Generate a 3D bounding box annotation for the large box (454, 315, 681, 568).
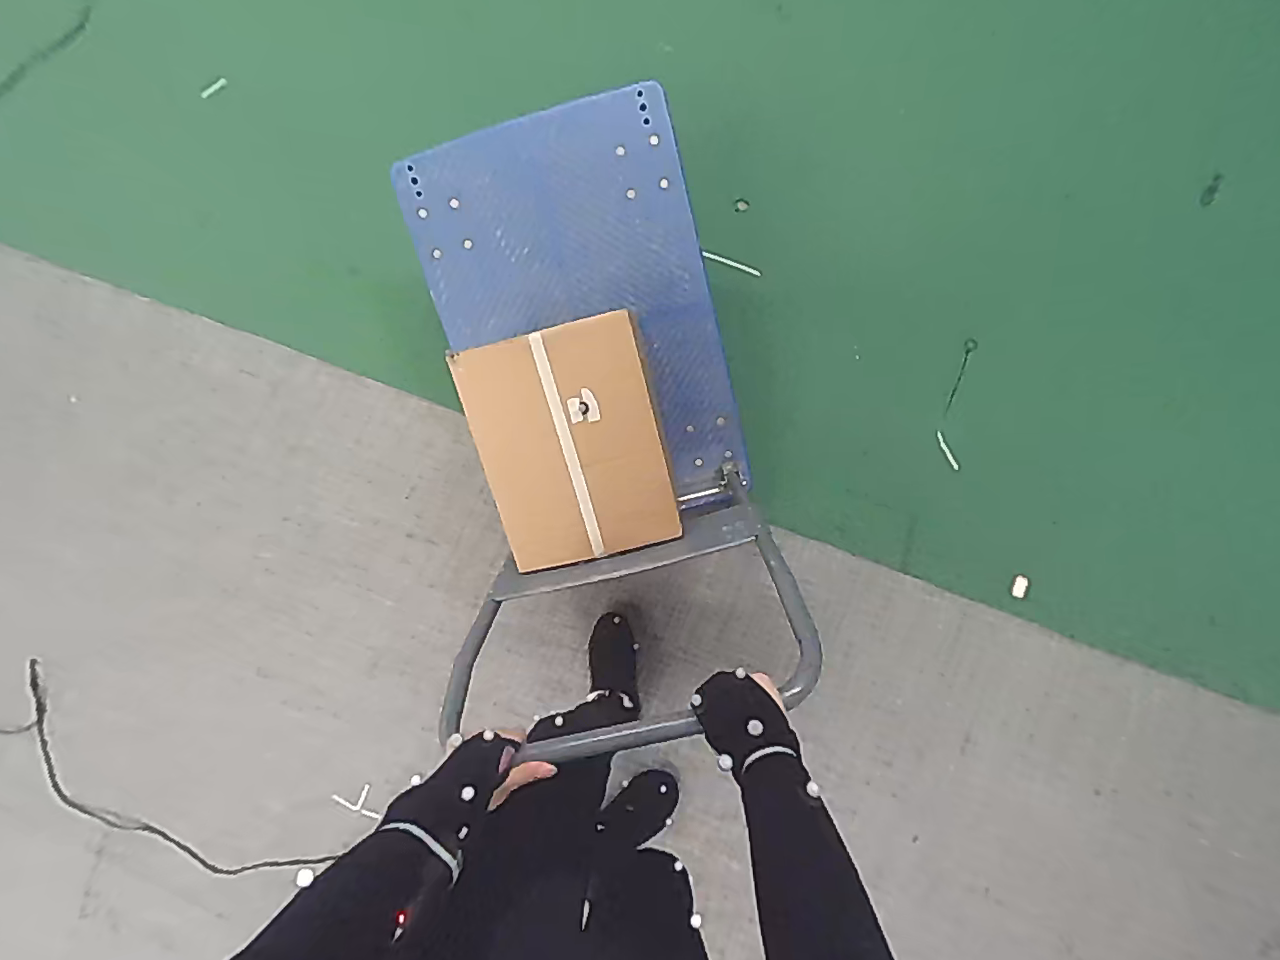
[{"bbox_3d":[-0.116,-0.090,1.102,0.320,0.320,0.408,-14,103,5],"label":"large box"}]
